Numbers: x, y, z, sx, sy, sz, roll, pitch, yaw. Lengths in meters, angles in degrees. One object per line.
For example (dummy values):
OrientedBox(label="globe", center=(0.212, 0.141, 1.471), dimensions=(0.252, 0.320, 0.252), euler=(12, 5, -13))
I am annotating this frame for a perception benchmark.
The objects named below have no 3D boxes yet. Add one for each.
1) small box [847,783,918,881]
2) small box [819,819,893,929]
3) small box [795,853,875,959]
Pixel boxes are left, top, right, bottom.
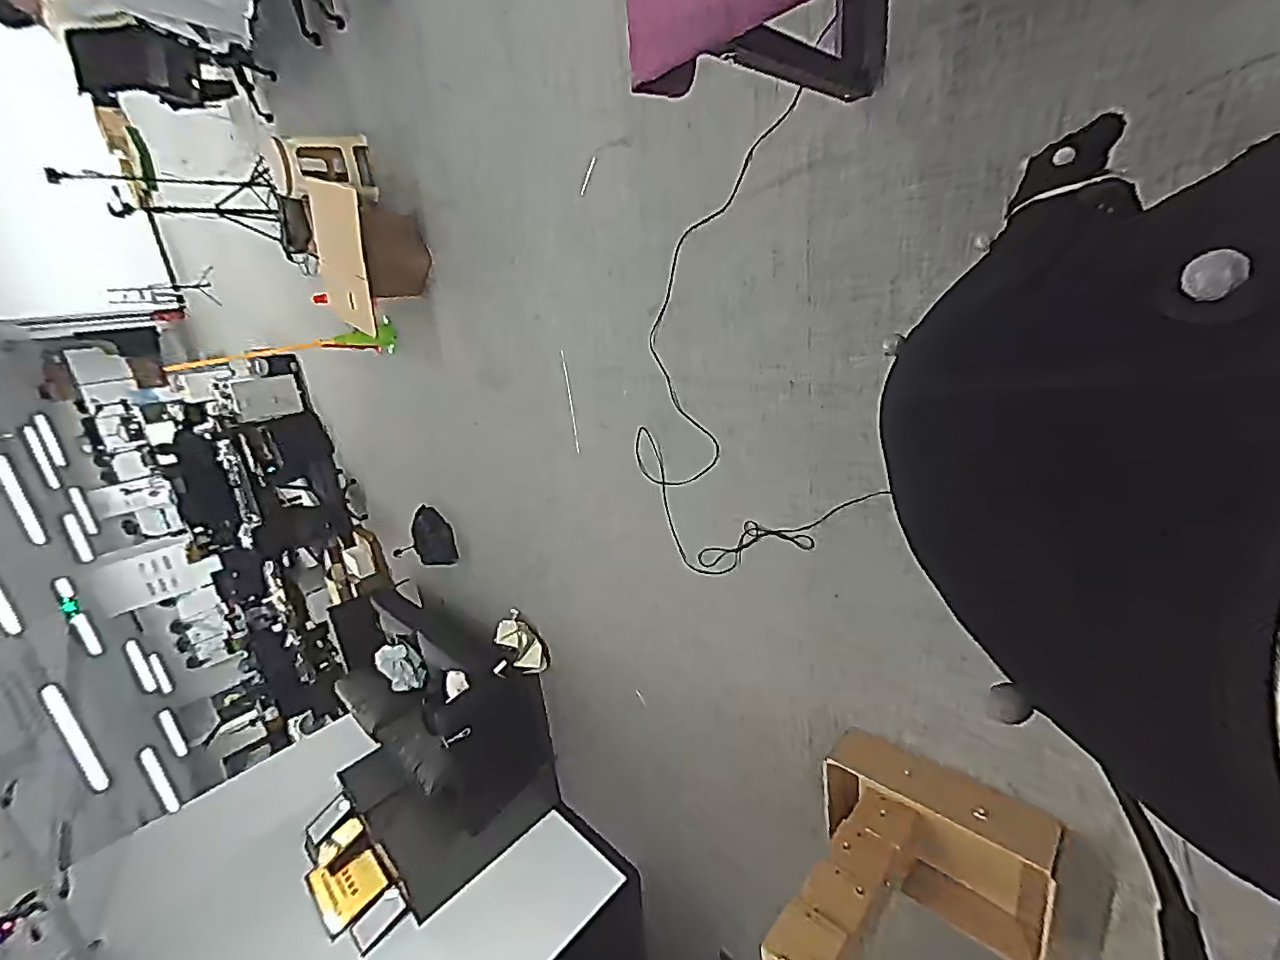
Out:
OrientedBox(label="small box", center=(0.797, 1.143, 1.772), dimensions=(0.168, 0.176, 0.179), euler=(3, 111, 43))
OrientedBox(label="small box", center=(0.663, 1.198, 1.661), dimensions=(0.168, 0.176, 0.179), euler=(10, 114, 43))
OrientedBox(label="small box", center=(0.563, 1.237, 1.560), dimensions=(0.168, 0.176, 0.179), euler=(11, 115, 43))
